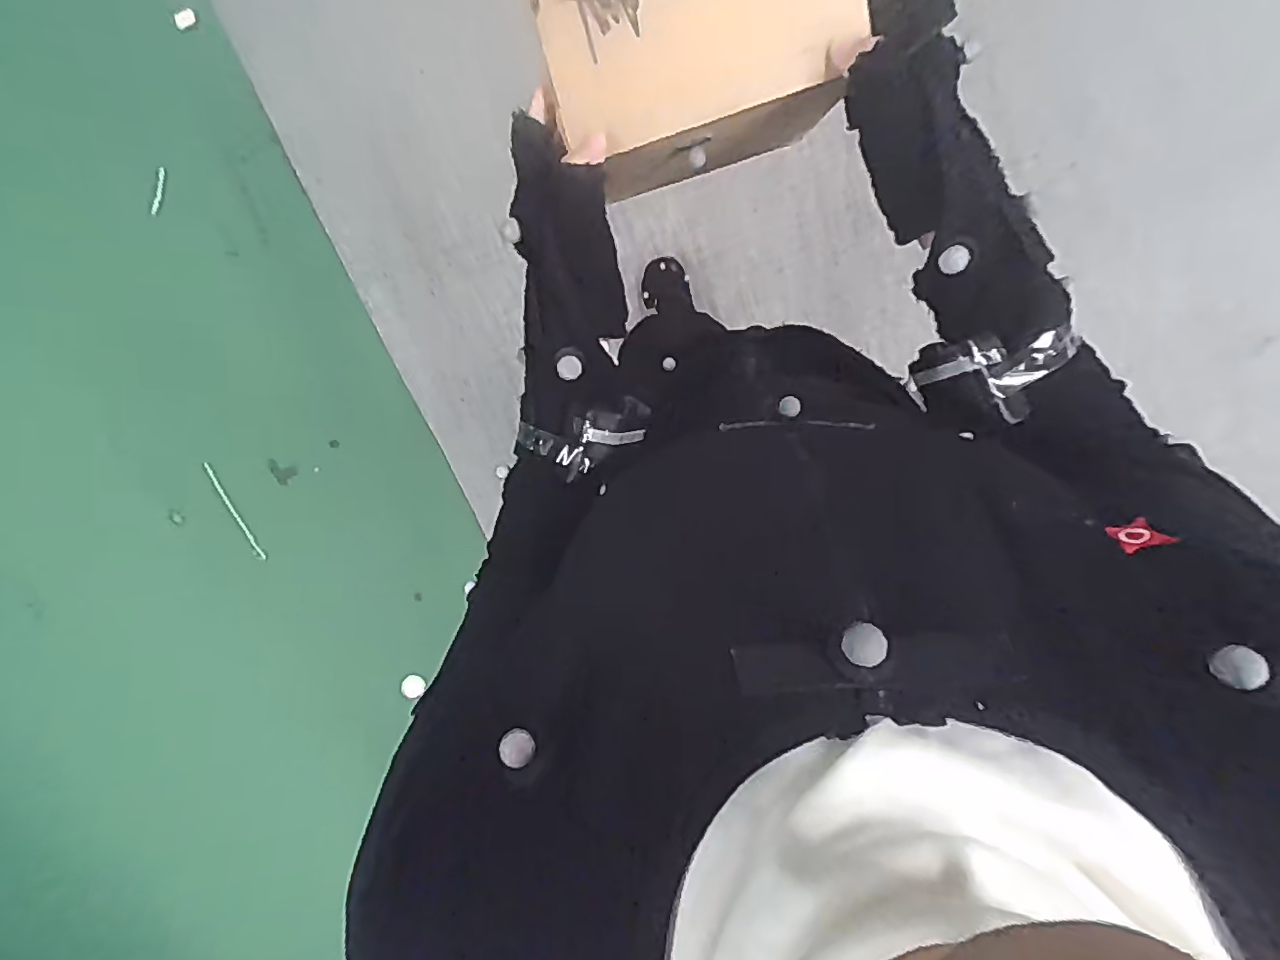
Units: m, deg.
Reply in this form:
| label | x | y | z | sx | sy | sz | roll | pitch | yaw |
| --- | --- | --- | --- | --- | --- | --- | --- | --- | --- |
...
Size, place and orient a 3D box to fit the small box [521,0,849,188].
| label | x | y | z | sx | sy | sz | roll | pitch | yaw |
| --- | --- | --- | --- | --- | --- | --- | --- | --- | --- |
| small box | 0.019 | -0.319 | 0.368 | 0.179 | 0.176 | 0.168 | -14 | 110 | 7 |
